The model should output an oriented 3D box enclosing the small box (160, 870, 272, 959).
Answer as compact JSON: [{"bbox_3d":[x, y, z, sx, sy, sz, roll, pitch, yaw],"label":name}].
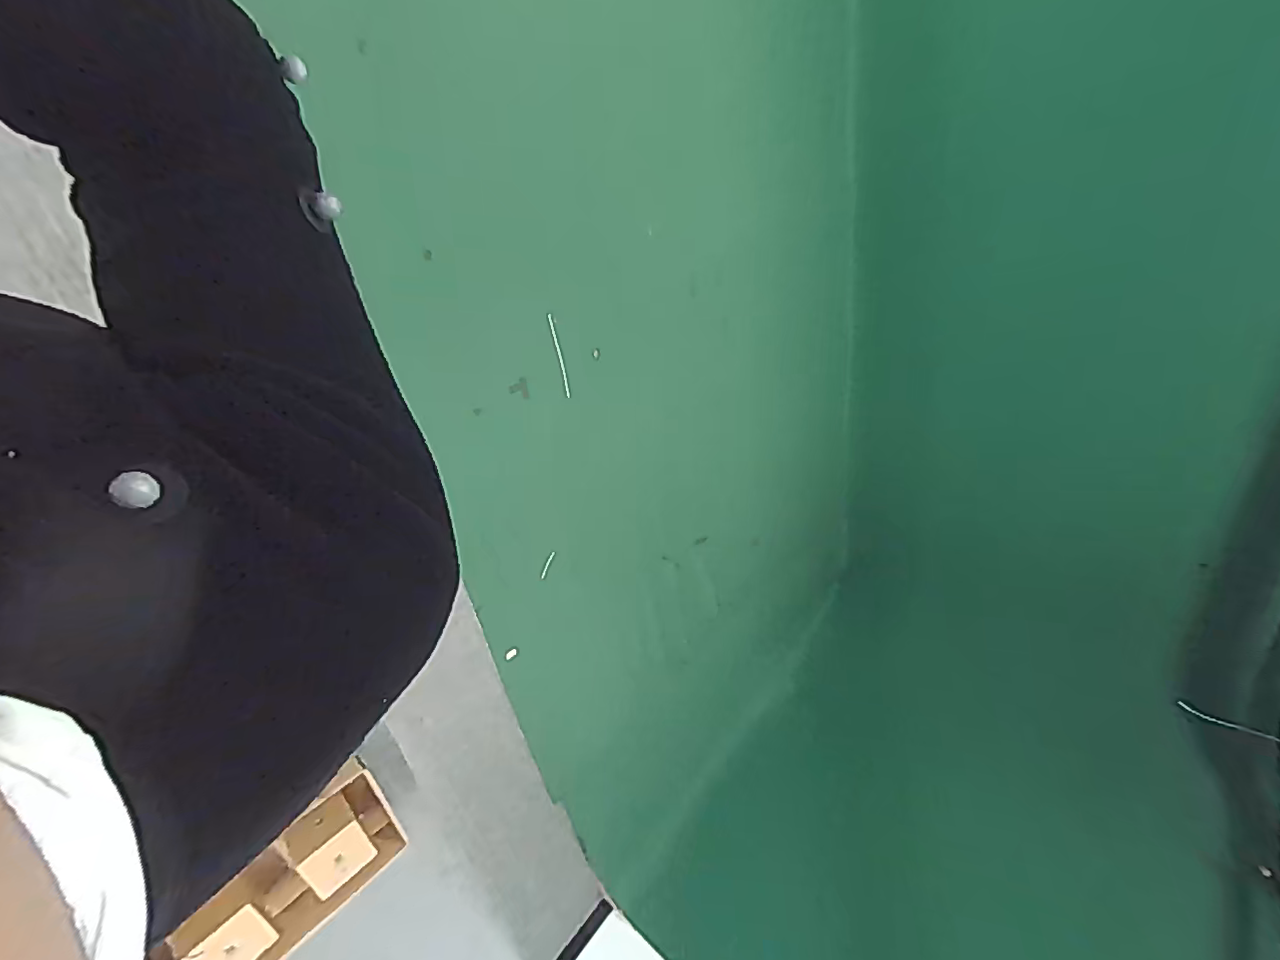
[{"bbox_3d":[-1.118,1.187,1.427,0.168,0.176,0.179,-34,124,-39],"label":"small box"}]

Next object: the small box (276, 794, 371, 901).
[{"bbox_3d":[-0.934,1.069,1.593,0.168,0.176,0.179,-32,124,-37],"label":"small box"}]
